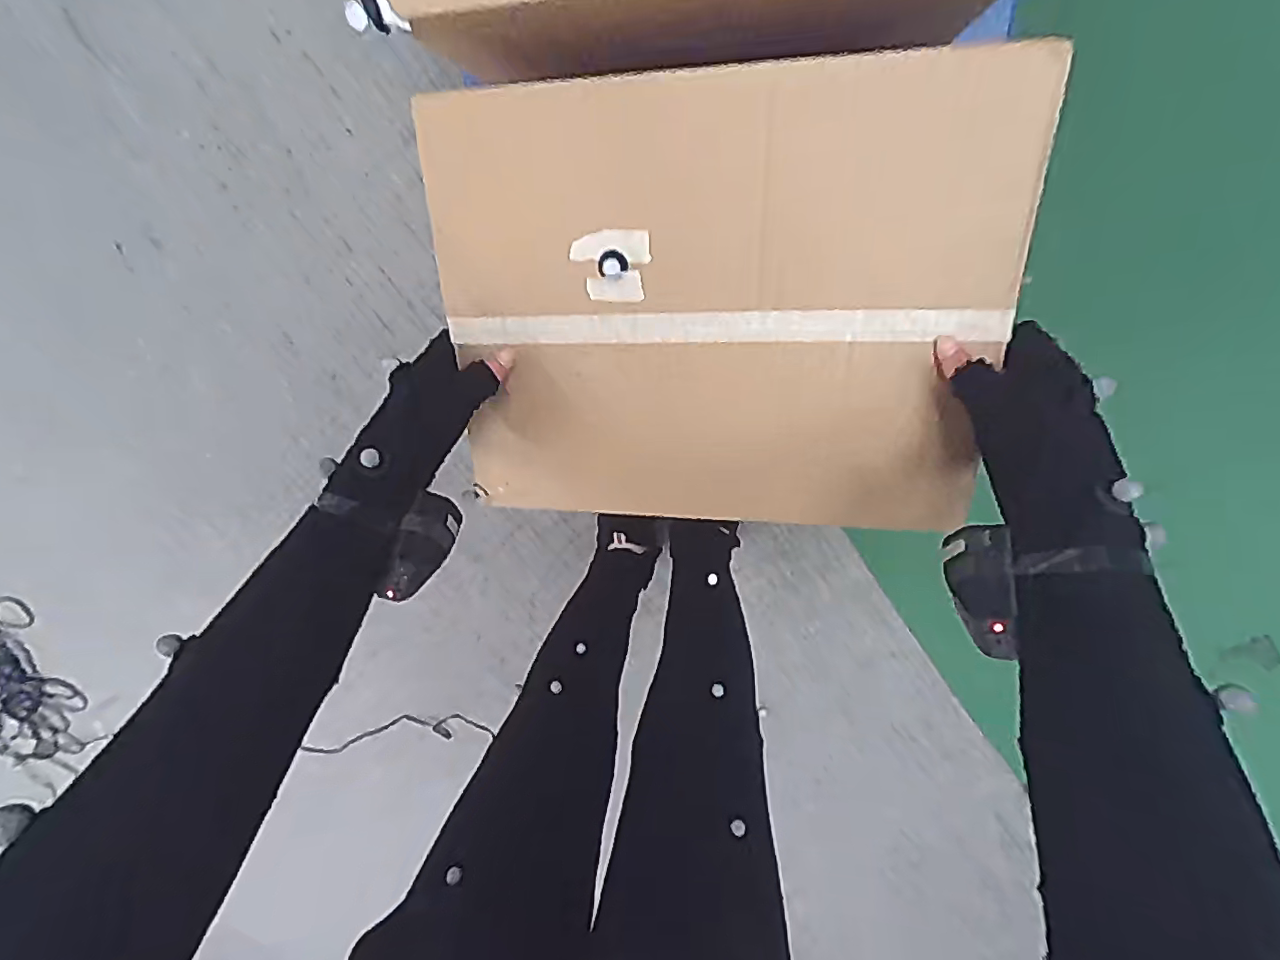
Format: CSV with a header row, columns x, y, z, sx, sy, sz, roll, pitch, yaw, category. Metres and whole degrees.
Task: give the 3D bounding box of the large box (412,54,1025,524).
x,y,z,sx,sy,sz,roll,pitch,yaw,category
0.065,-0.171,0.539,0.408,0.320,0.320,3,113,11,large box
